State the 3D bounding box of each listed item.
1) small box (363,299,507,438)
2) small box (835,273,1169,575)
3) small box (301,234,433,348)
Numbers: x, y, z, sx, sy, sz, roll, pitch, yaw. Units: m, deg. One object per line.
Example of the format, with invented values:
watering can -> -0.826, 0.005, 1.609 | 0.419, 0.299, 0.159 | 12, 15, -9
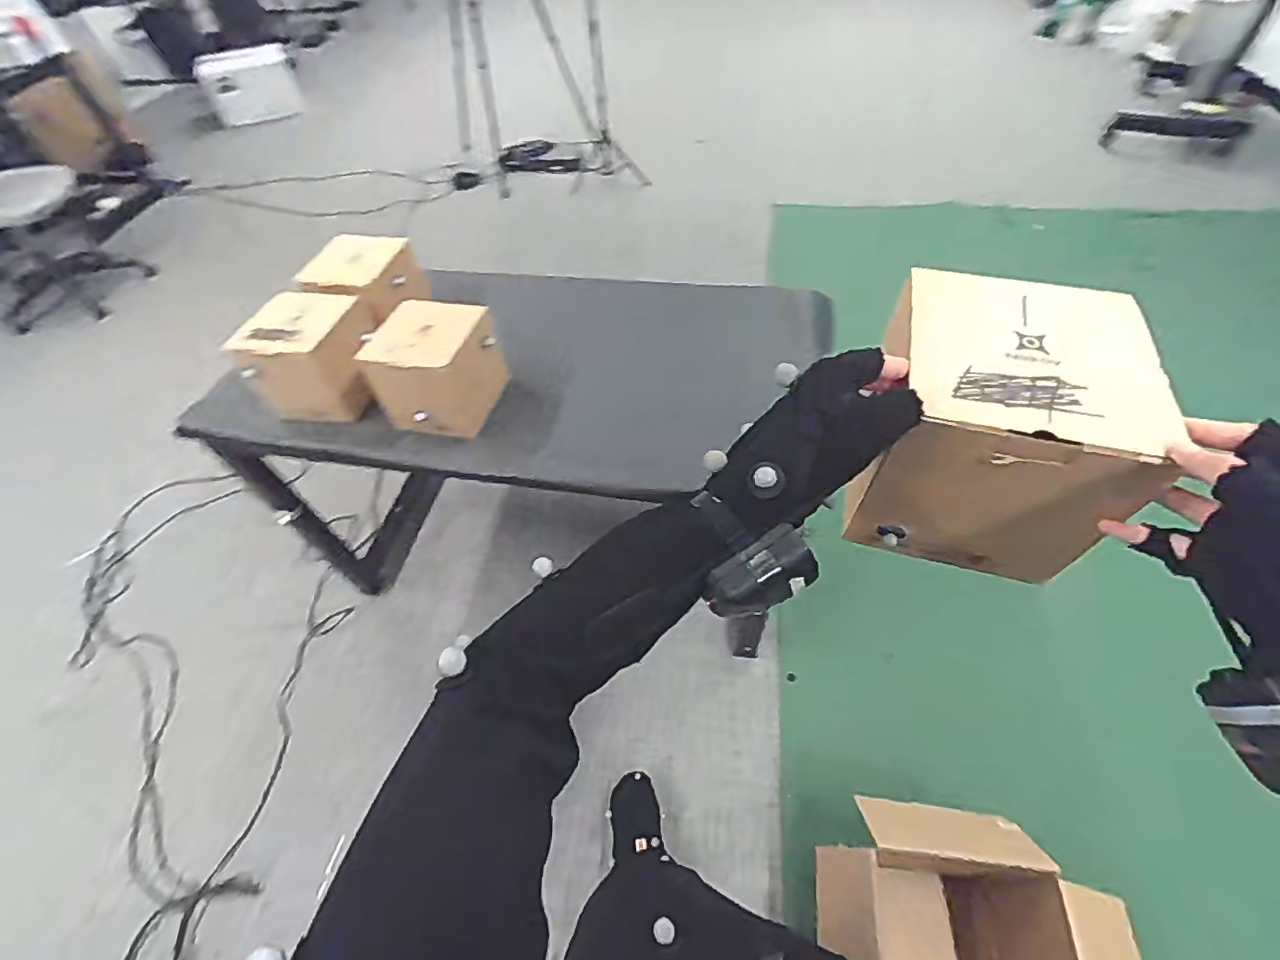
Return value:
small box -> -0.359, -0.205, 0.992 | 0.168, 0.176, 0.179 | 9, 53, 11
small box -> 0.269, -0.043, 0.454 | 0.168, 0.176, 0.179 | 12, 55, 11
small box -> -0.568, -0.400, 1.161 | 0.168, 0.176, 0.179 | 7, 54, 9
